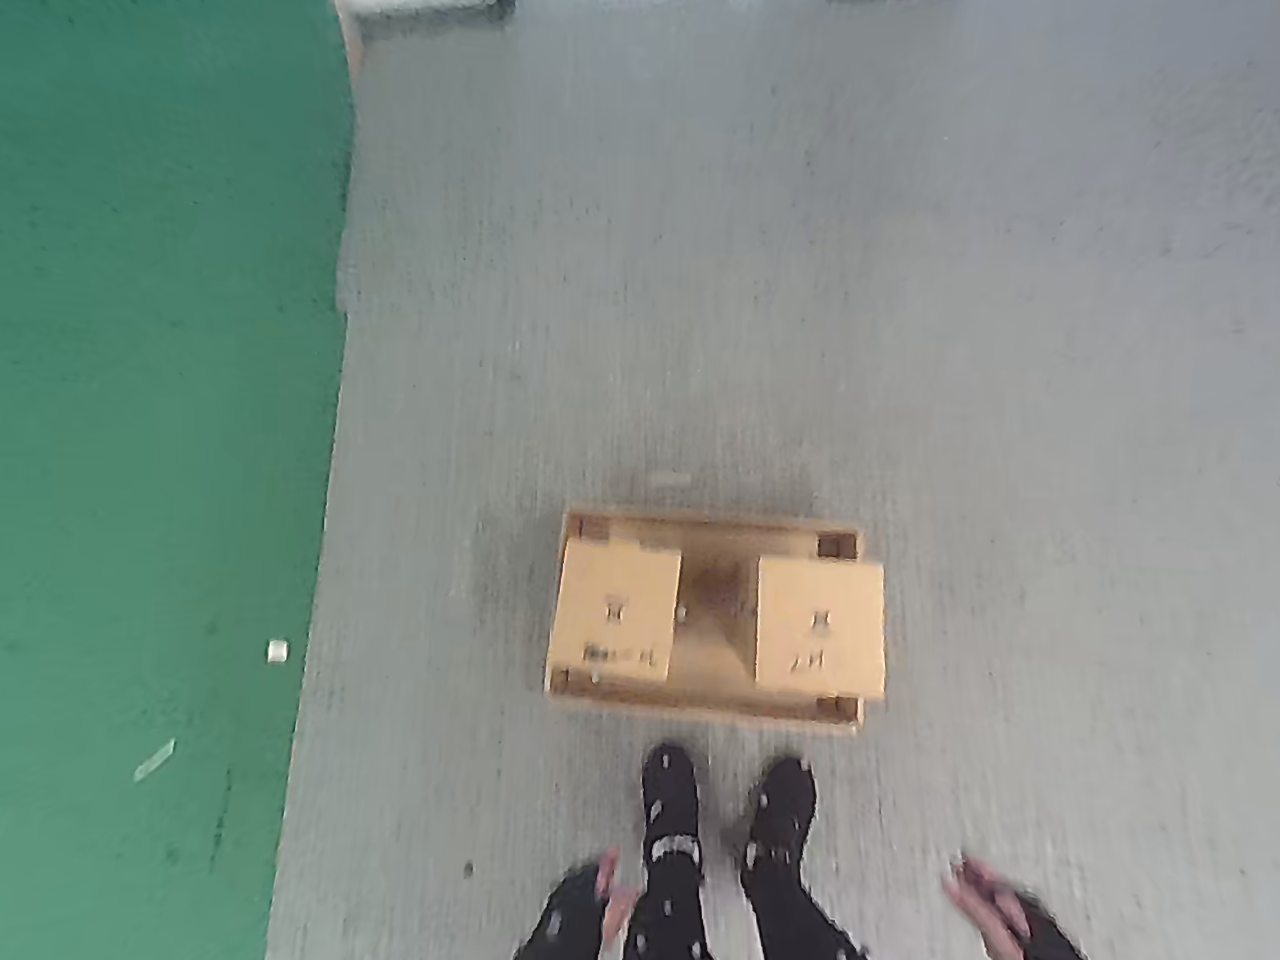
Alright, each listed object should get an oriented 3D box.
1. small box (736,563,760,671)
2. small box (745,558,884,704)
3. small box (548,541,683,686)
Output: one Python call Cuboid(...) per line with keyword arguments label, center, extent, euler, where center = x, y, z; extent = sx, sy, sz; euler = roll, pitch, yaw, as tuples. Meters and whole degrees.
Cuboid(label="small box", center=(0.263, 0.249, 0.956), extent=(0.168, 0.176, 0.179), euler=(5, 77, 7))
Cuboid(label="small box", center=(0.246, 0.216, 0.795), extent=(0.168, 0.176, 0.179), euler=(3, 78, 7))
Cuboid(label="small box", center=(-0.029, 0.200, 0.820), extent=(0.168, 0.176, 0.179), euler=(7, 76, 5))
